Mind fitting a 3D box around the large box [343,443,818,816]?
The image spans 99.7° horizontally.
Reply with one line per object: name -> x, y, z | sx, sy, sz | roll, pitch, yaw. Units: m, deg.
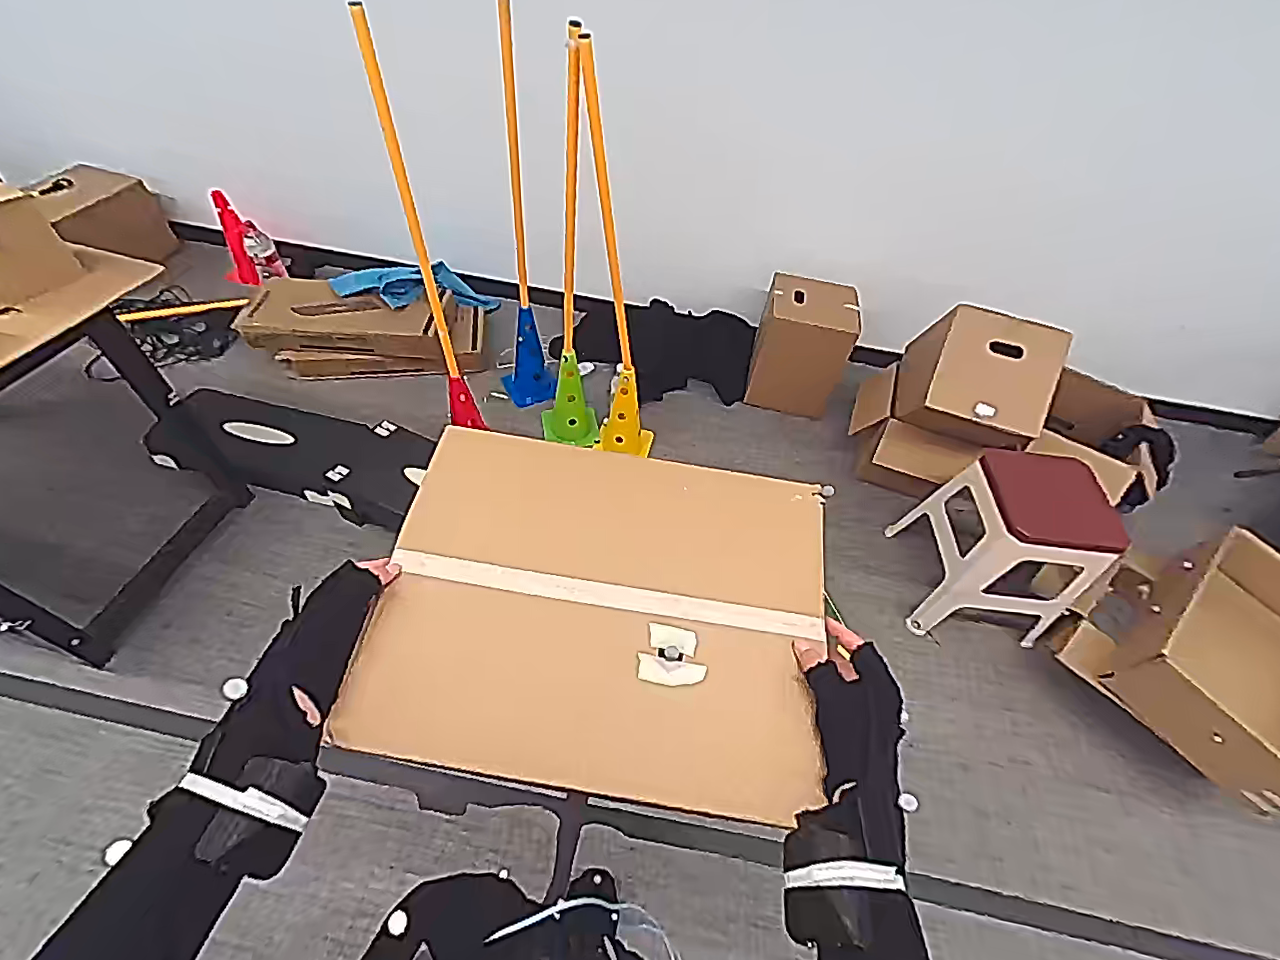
large box -> -0.042, 0.190, 0.644 | 0.408, 0.320, 0.320 | 9, 60, 1
